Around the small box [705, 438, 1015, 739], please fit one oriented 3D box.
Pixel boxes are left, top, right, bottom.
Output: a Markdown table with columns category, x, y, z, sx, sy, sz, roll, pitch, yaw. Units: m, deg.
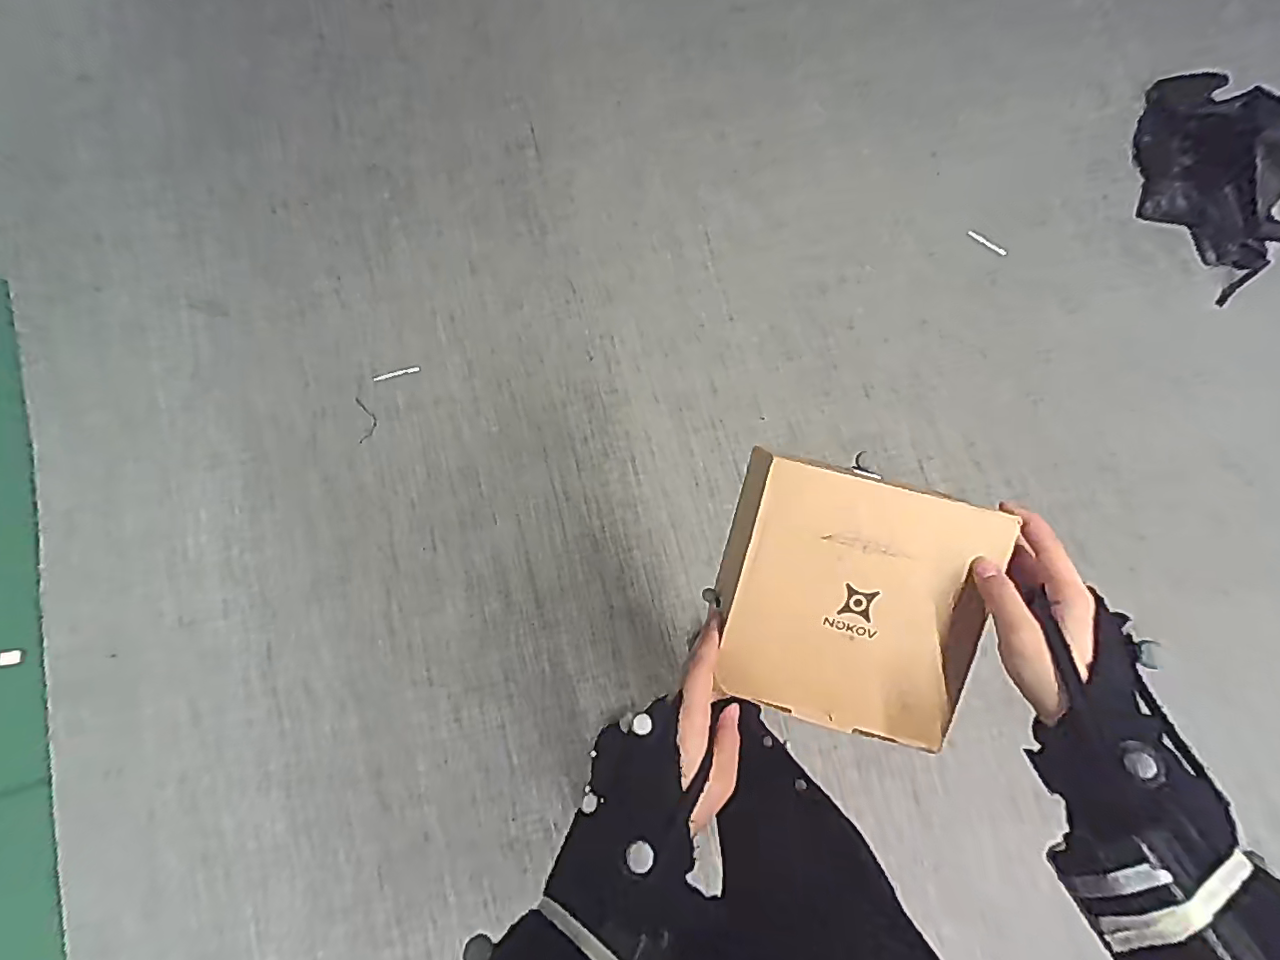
| category | x | y | z | sx | sy | sz | roll | pitch | yaw |
| --- | --- | --- | --- | --- | --- | --- | --- | --- | --- |
| small box | 0.156 | 0.069 | 0.449 | 0.168 | 0.176 | 0.179 | 14 | 98 | 4 |
